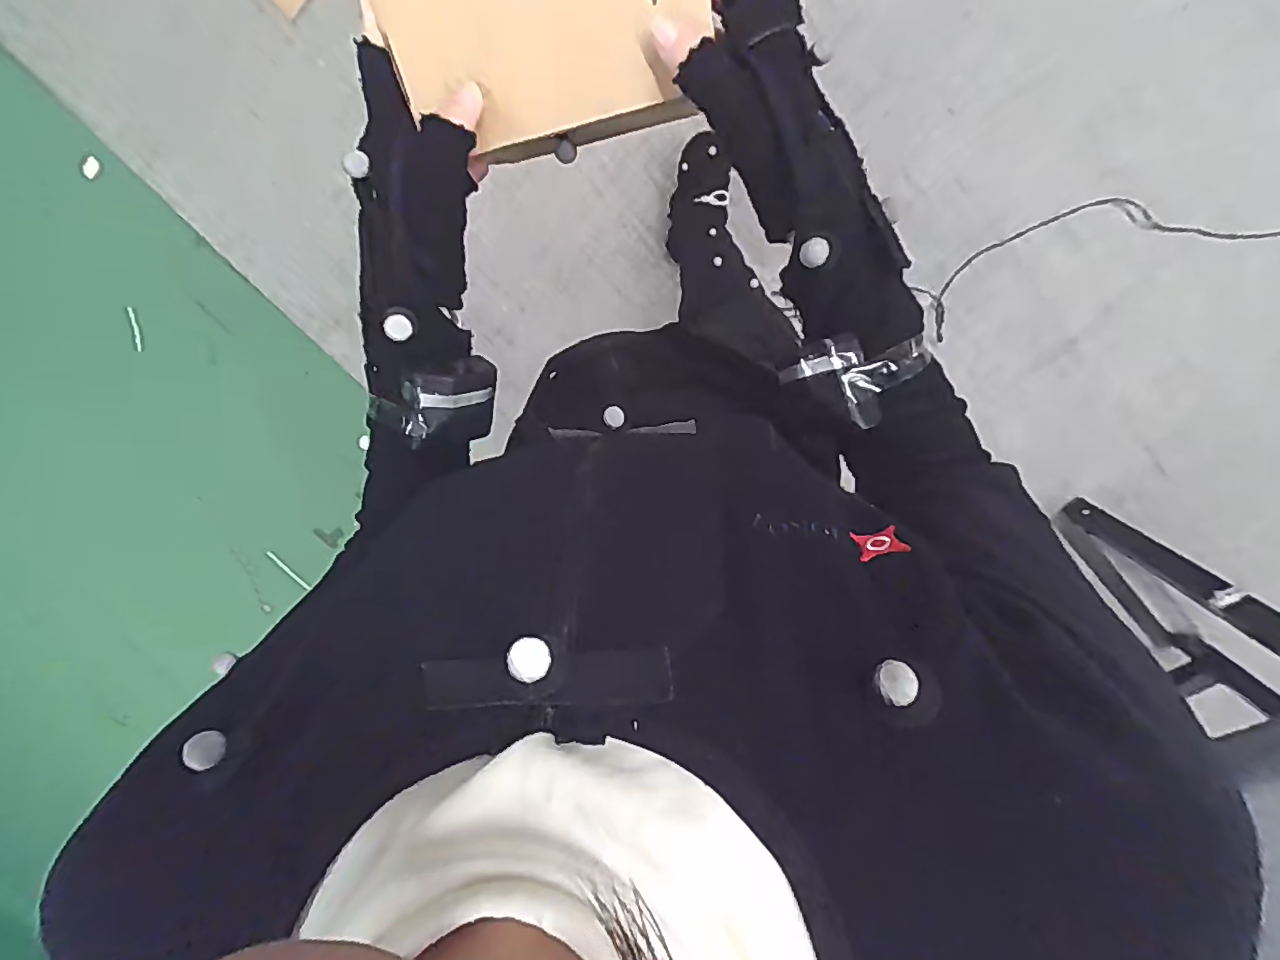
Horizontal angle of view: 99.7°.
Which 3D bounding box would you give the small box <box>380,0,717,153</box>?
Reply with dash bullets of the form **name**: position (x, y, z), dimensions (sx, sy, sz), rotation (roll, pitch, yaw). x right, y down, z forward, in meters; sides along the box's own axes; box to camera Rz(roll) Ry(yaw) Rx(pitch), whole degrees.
- **small box**: position (-0.054, -0.323, 0.339), dimensions (0.179, 0.176, 0.168), rotation (-12, 116, 11)
